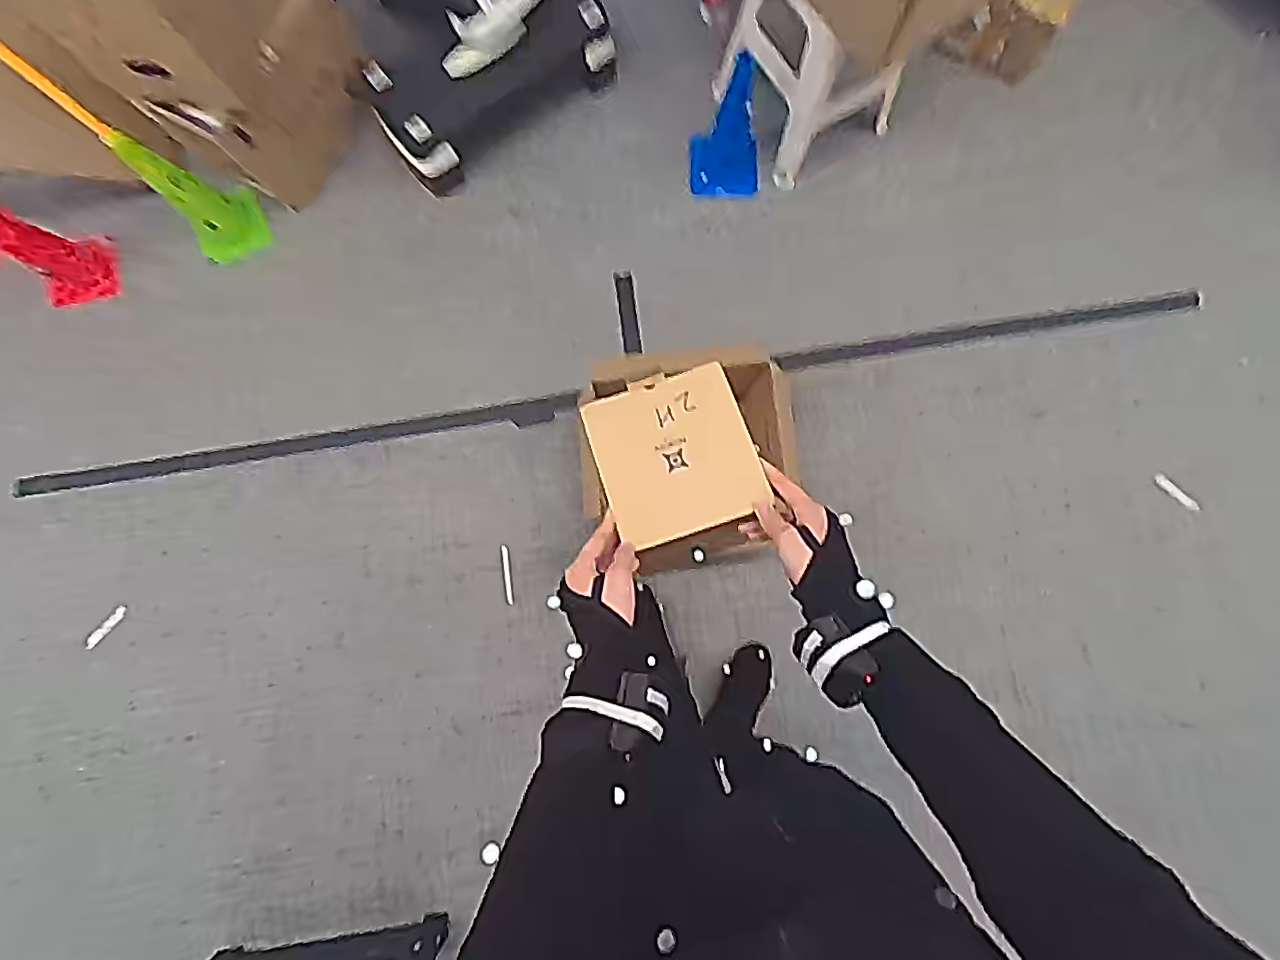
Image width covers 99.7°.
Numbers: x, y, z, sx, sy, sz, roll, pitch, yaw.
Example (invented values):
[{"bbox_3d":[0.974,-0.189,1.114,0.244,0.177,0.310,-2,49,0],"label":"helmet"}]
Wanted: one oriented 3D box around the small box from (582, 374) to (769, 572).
[{"bbox_3d":[0.043,0.005,0.663,0.168,0.176,0.179,-18,70,-1],"label":"small box"}]
